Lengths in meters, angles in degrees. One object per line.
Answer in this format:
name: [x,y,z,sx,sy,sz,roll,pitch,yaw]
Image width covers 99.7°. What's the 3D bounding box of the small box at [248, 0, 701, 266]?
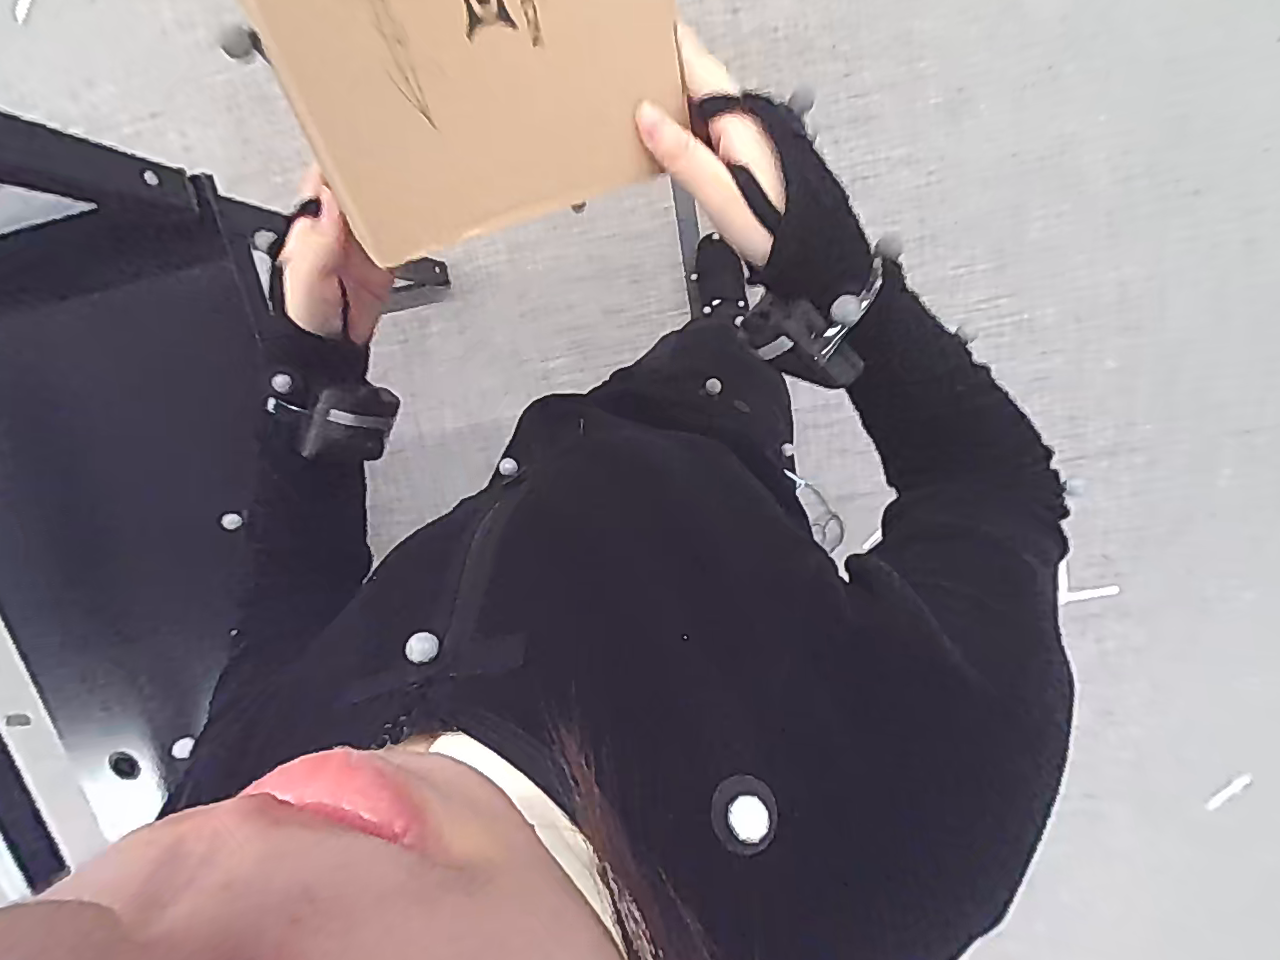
small box: [-0.093,-0.230,0.284,0.179,0.176,0.168,-26,127,-17]
